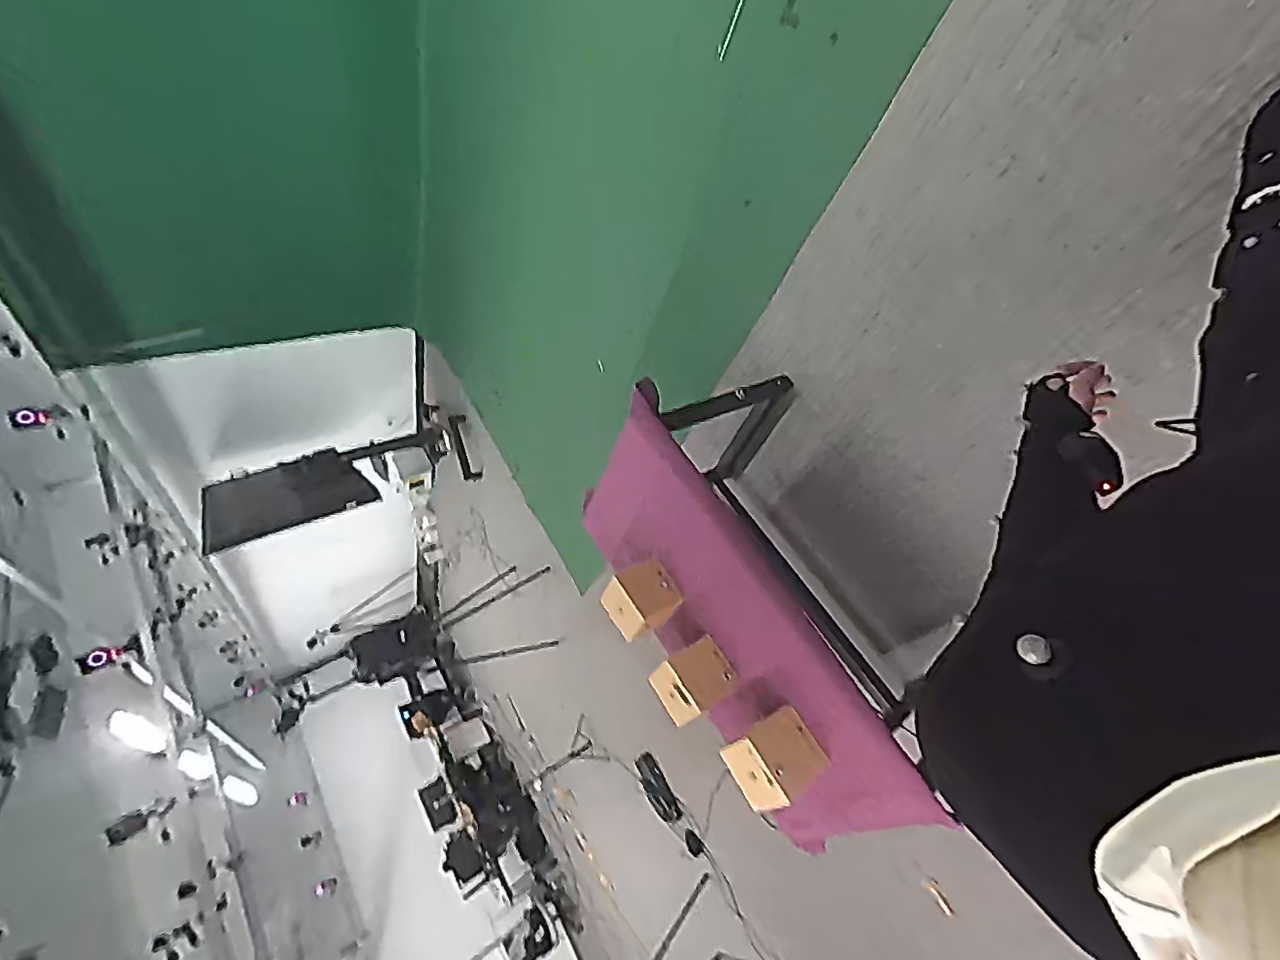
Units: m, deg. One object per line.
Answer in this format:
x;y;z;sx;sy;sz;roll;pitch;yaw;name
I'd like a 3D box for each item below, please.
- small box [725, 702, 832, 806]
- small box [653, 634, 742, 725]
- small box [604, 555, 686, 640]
0.357;0.704;1.393;0.168;0.176;0.179;55;144;21;small box
0.171;0.581;1.588;0.168;0.176;0.179;54;144;22;small box
0.016;0.365;1.691;0.168;0.176;0.179;52;142;22;small box
